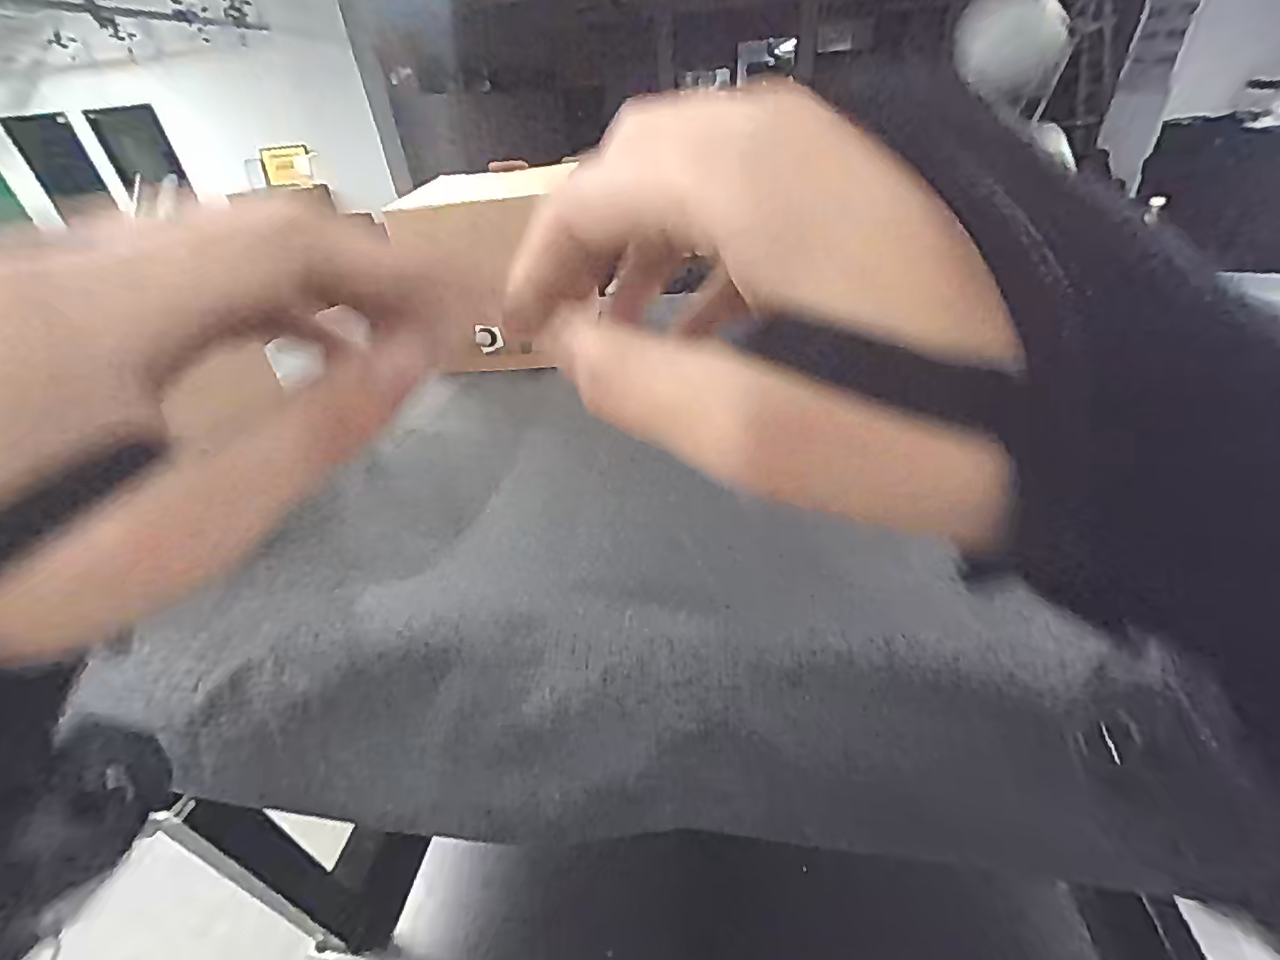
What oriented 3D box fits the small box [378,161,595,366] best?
[{"bbox_3d":[-0.145,-0.237,0.589,0.168,0.176,0.179,-4,36,4],"label":"small box"}]
